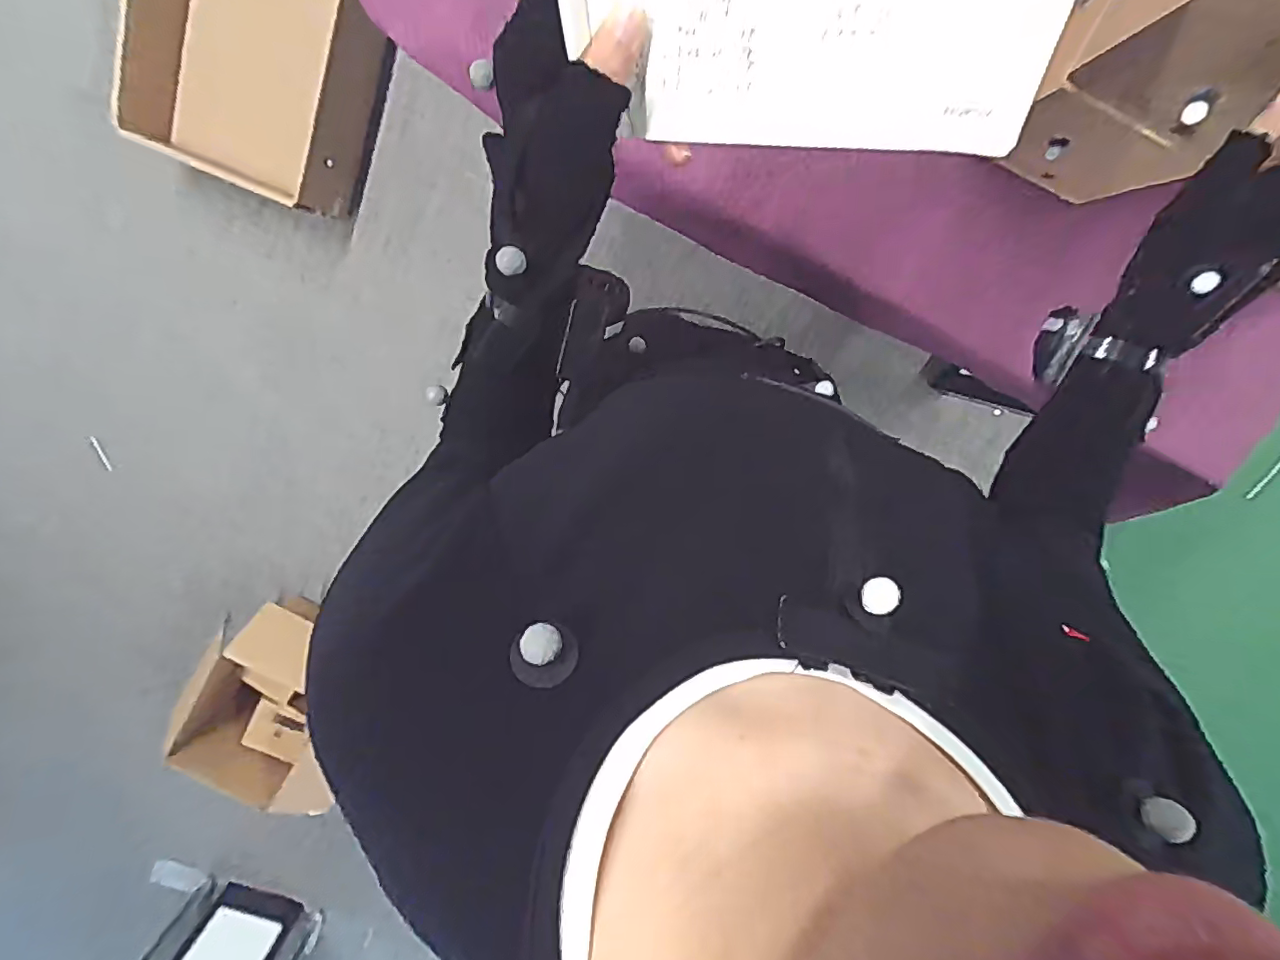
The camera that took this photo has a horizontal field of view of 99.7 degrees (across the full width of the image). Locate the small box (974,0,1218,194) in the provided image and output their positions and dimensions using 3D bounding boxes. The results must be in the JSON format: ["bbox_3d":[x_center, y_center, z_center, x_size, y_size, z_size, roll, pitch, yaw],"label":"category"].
[{"bbox_3d":[0.469,-0.409,0.524,0.168,0.176,0.179,23,106,-6],"label":"small box"}]

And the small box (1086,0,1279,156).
[{"bbox_3d":[0.471,-0.364,0.365,0.168,0.176,0.179,26,106,-6],"label":"small box"}]
